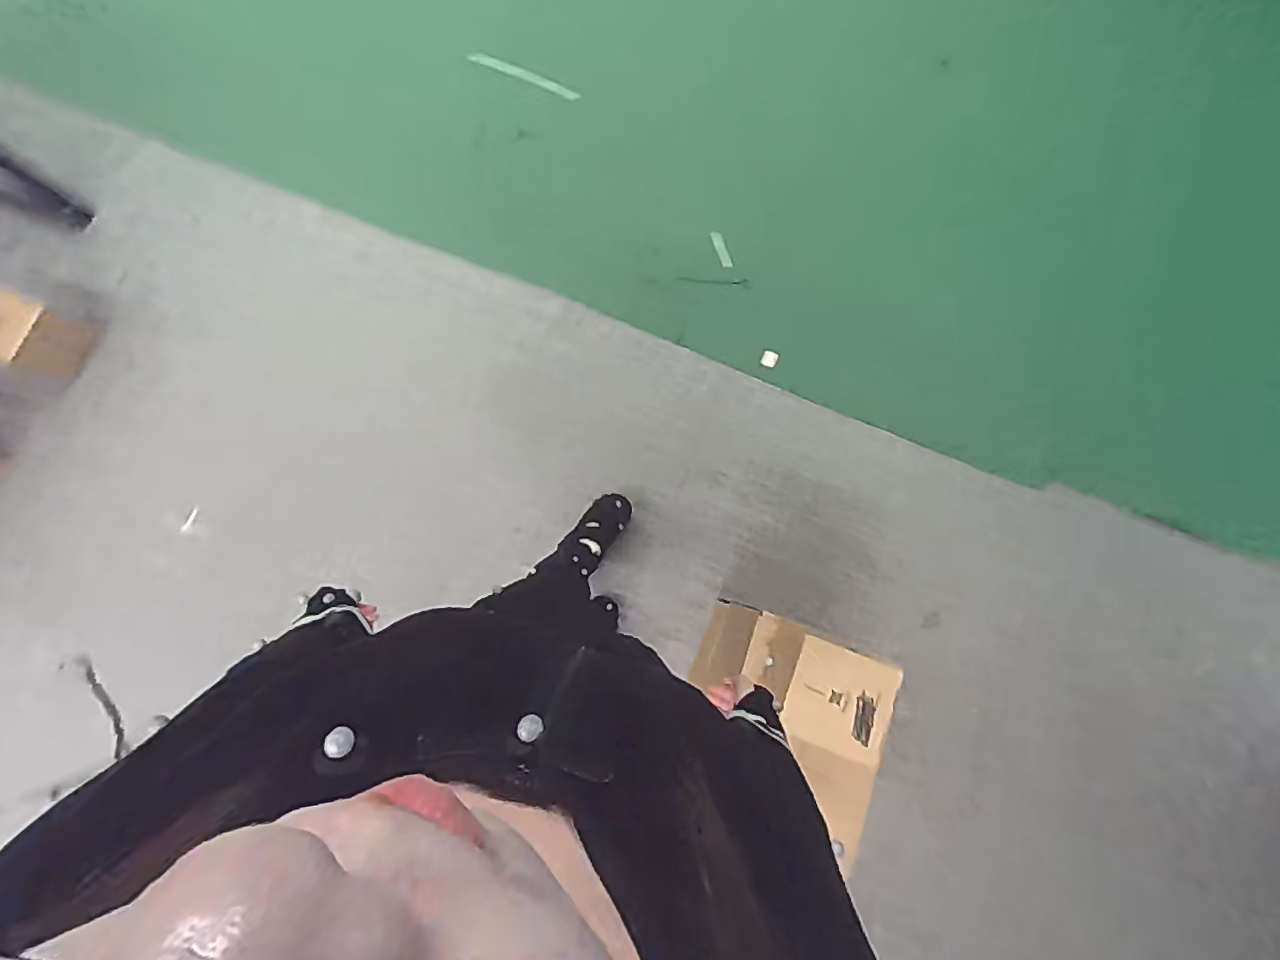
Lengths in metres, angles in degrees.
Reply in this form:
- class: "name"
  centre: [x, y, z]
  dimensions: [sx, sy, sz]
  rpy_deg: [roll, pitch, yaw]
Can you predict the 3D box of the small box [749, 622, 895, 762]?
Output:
- class: "small box"
  centre: [0.321, 0.373, 0.988]
  dimensions: [0.179, 0.176, 0.168]
  rpy_deg: [23, 83, 2]
